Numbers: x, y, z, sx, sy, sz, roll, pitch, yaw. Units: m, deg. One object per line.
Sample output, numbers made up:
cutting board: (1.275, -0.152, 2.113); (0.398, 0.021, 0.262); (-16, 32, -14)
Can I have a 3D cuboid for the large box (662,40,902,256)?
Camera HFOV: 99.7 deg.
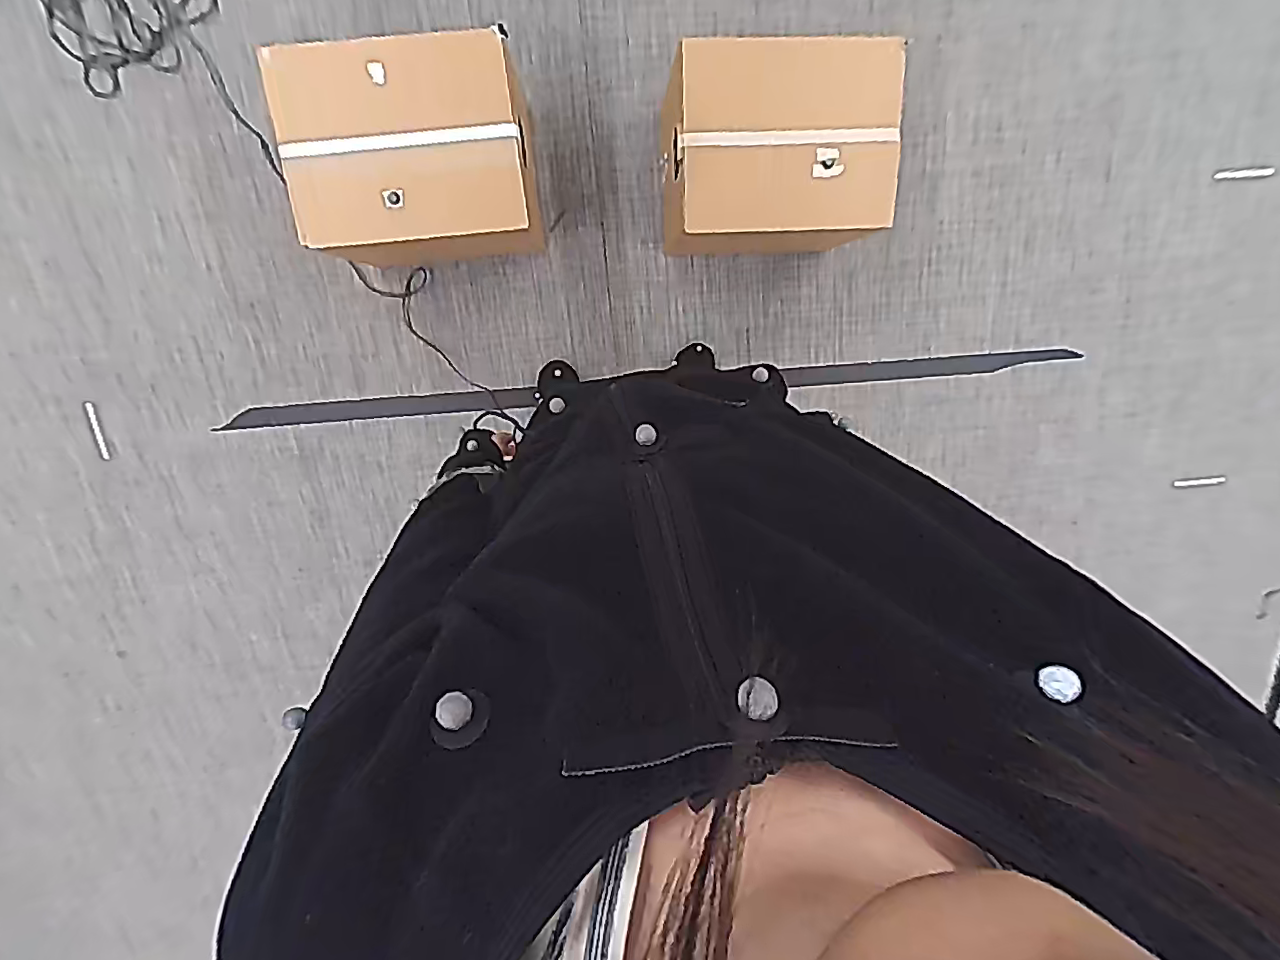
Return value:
large box: (0.266, -0.664, 1.134); (0.408, 0.320, 0.320); (-3, 106, -4)
